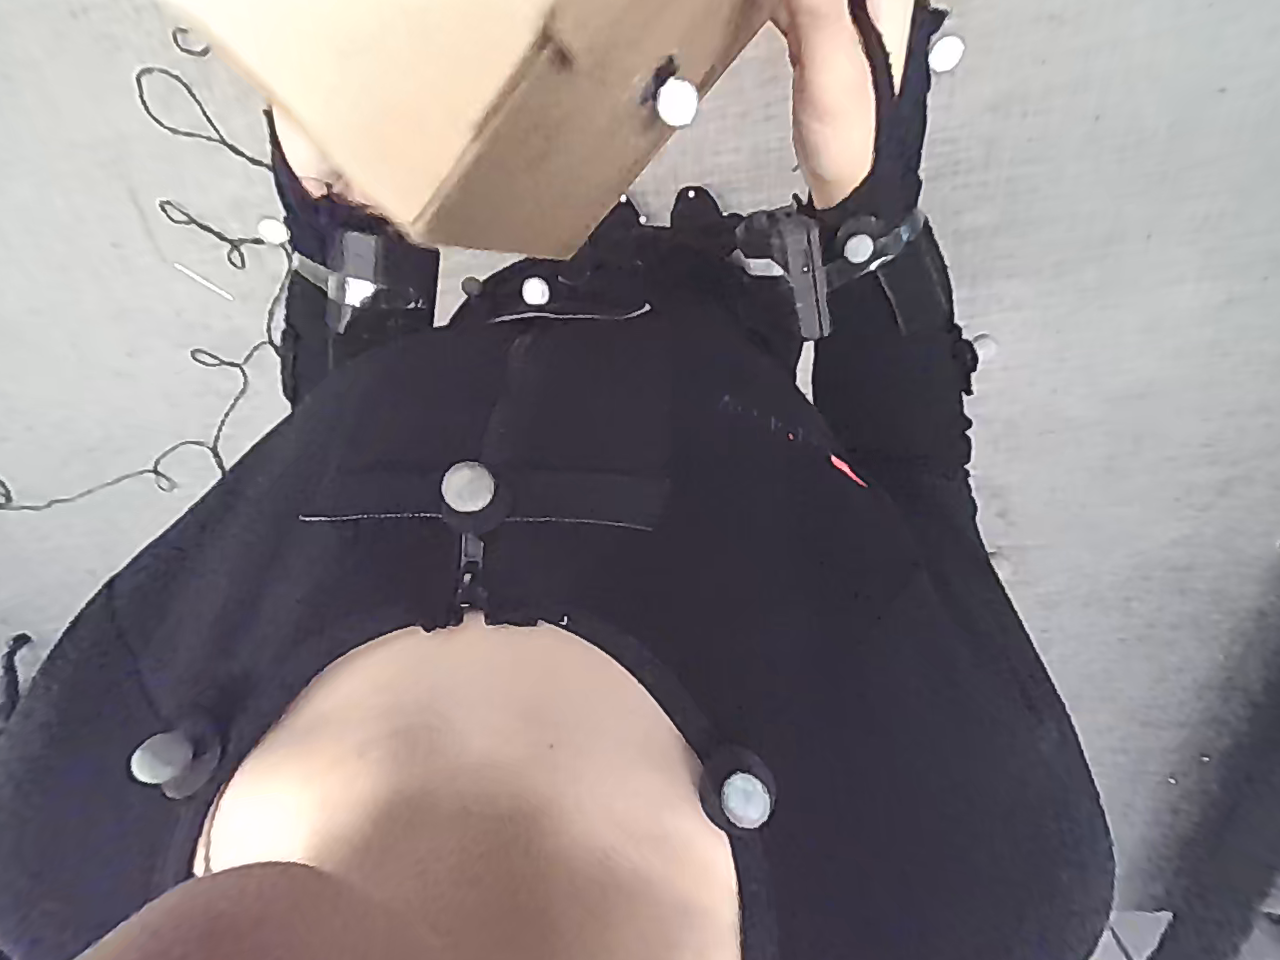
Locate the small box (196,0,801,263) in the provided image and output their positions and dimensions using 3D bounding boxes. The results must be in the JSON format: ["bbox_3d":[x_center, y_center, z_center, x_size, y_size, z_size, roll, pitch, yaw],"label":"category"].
[{"bbox_3d":[-0.046,-0.201,0.188,0.168,0.176,0.179,-41,101,18],"label":"small box"}]
